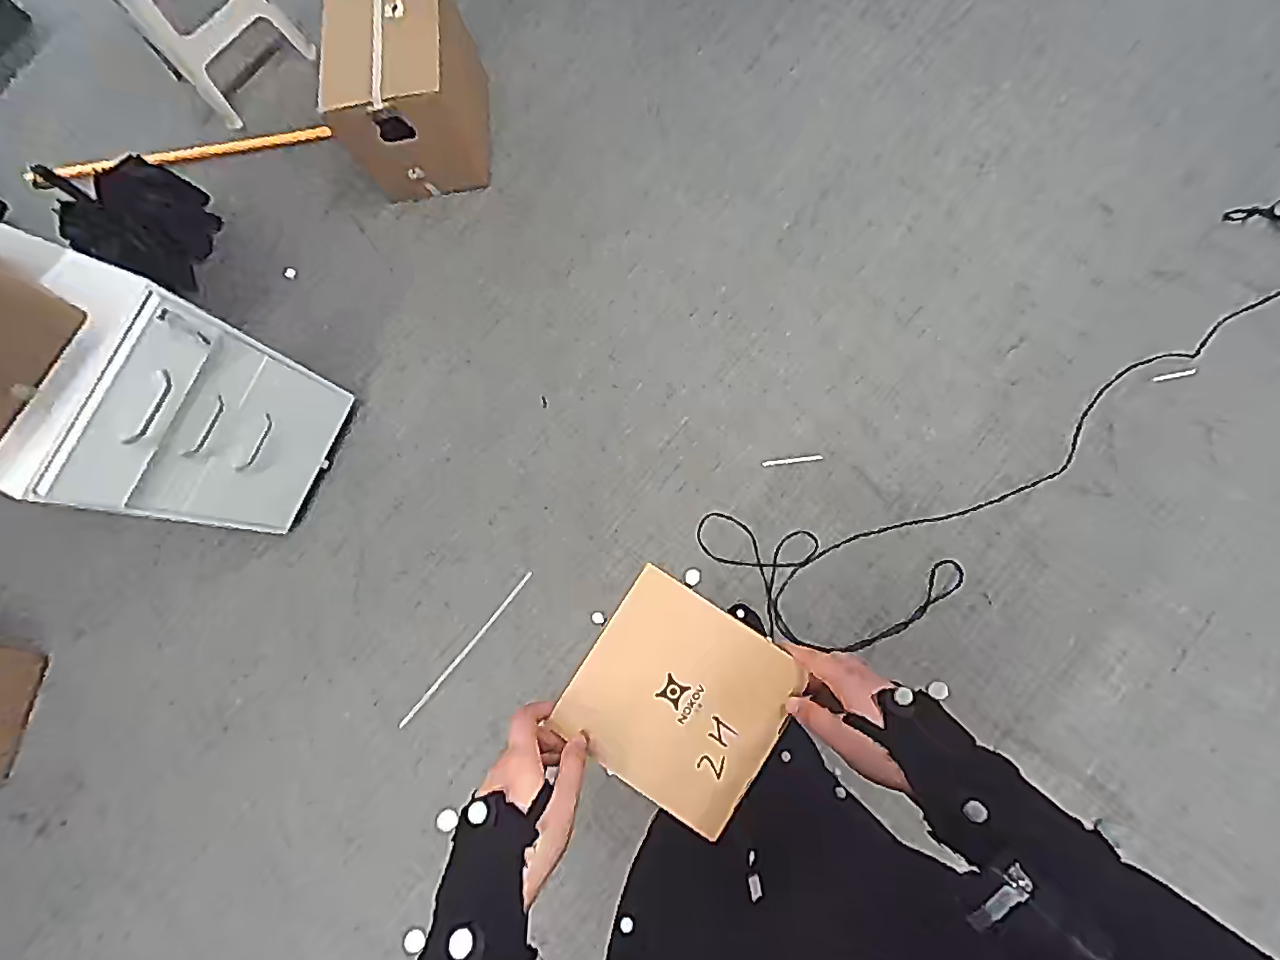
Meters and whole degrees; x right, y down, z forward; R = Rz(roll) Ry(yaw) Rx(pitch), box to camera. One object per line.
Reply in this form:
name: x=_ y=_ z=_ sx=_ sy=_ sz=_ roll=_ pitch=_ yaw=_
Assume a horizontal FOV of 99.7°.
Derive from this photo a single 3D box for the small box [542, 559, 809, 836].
small box: x=0.030 y=0.195 z=0.540 sx=0.179 sy=0.176 sz=0.168 roll=33 pitch=84 yaw=4
